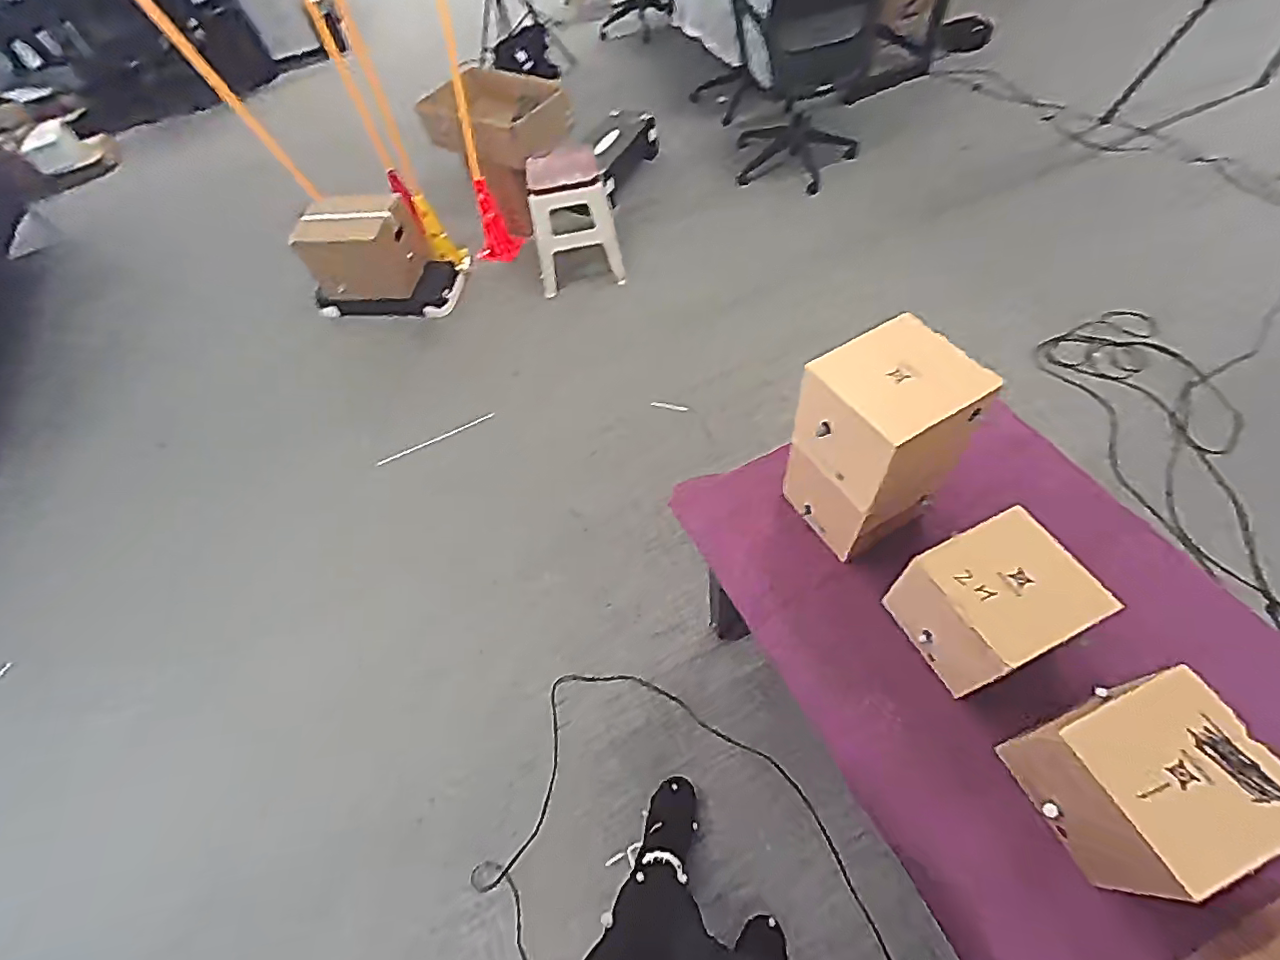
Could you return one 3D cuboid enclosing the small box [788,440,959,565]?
[{"bbox_3d":[0.362,0.007,0.878,0.179,0.176,0.168,-28,57,-10],"label":"small box"}]

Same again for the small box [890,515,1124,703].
[{"bbox_3d":[0.483,0.182,0.747,0.179,0.176,0.168,-24,57,-7],"label":"small box"}]

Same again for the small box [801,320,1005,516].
[{"bbox_3d":[0.340,-0.079,0.744,0.179,0.176,0.168,-28,57,-11],"label":"small box"}]
